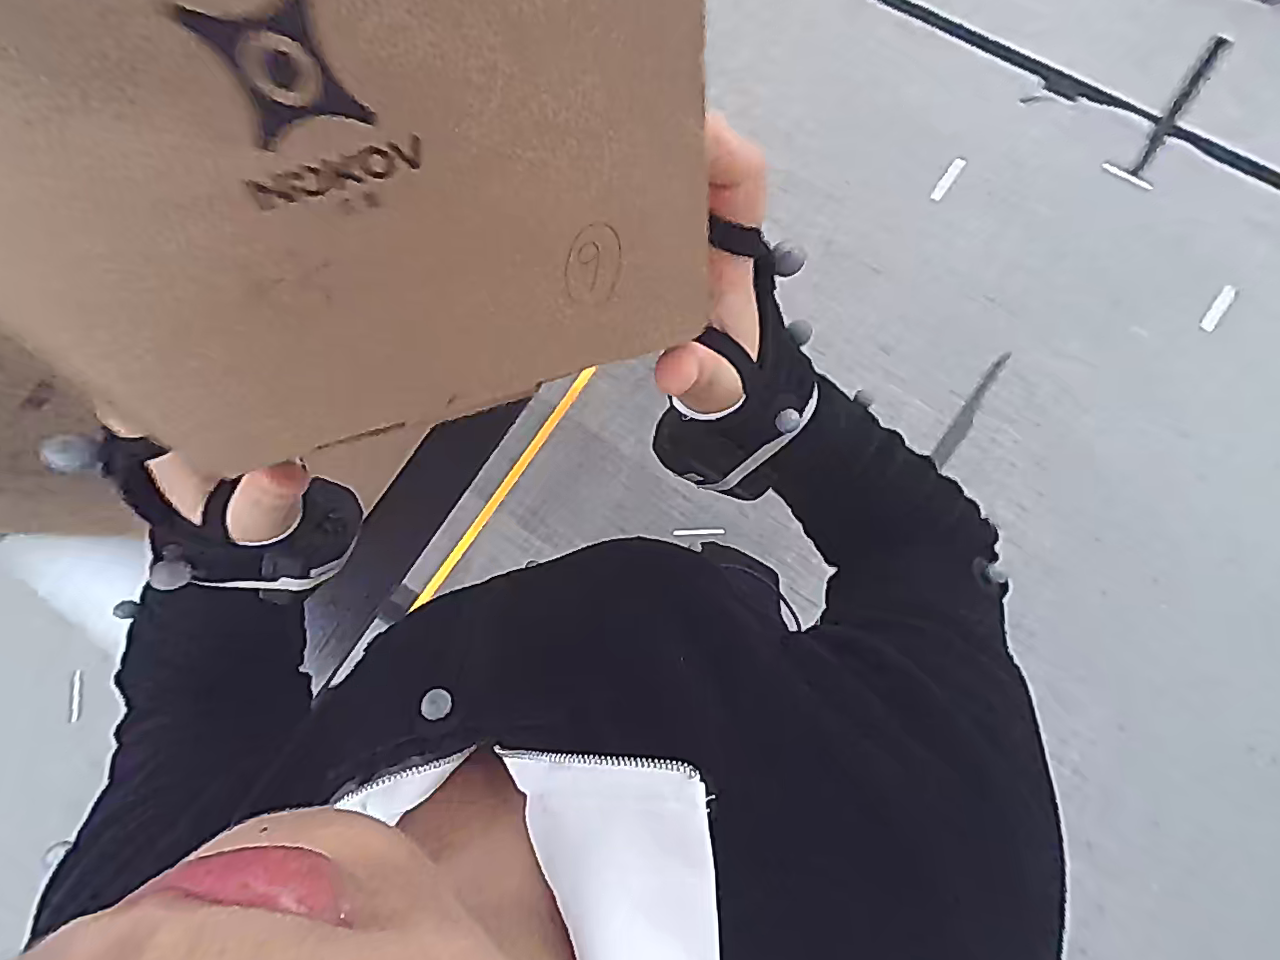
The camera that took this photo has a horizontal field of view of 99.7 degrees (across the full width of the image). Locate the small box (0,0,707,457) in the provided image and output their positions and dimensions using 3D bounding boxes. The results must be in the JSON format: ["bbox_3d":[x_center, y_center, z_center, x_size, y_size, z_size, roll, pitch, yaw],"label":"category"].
[{"bbox_3d":[-0.085,-0.139,0.159,0.168,0.179,0.176,-17,57,-5],"label":"small box"}]
